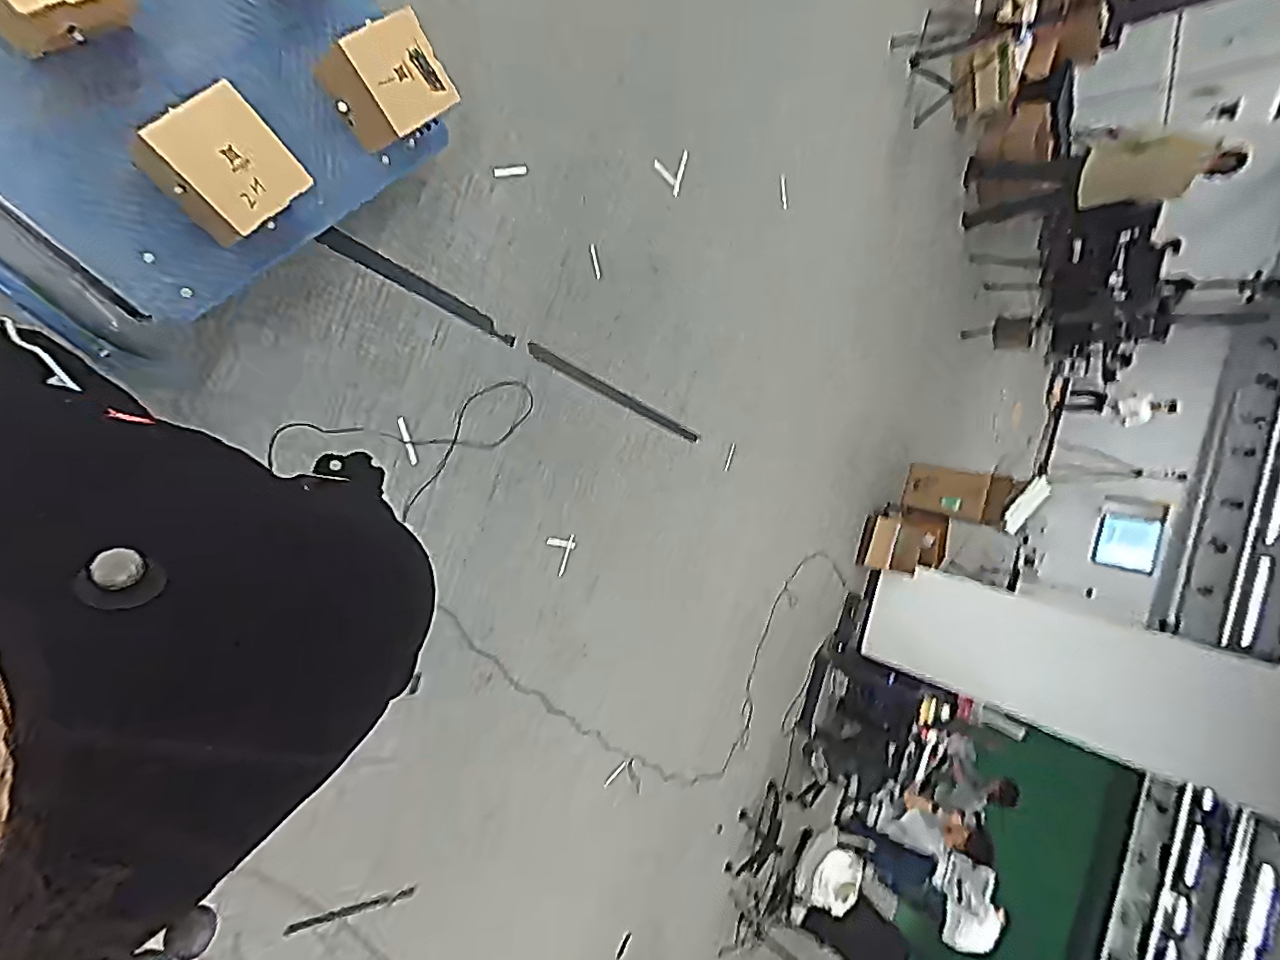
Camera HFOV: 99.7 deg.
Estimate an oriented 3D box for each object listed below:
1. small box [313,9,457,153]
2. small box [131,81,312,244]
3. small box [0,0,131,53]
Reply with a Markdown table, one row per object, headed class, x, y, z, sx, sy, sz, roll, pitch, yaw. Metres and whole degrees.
| class | x | y | z | sx | sy | sz | roll | pitch | yaw |
| --- | --- | --- | --- | --- | --- | --- | --- | --- | --- |
| small box | -0.519 | -0.801 | 1.098 | 0.179 | 0.176 | 0.168 | -51 | 133 | -24 |
| small box | -0.728 | -0.538 | 0.940 | 0.168 | 0.176 | 0.179 | -55 | 134 | -22 |
| small box | -0.860 | -0.738 | 0.743 | 0.168 | 0.176 | 0.179 | -51 | 134 | -26 |
